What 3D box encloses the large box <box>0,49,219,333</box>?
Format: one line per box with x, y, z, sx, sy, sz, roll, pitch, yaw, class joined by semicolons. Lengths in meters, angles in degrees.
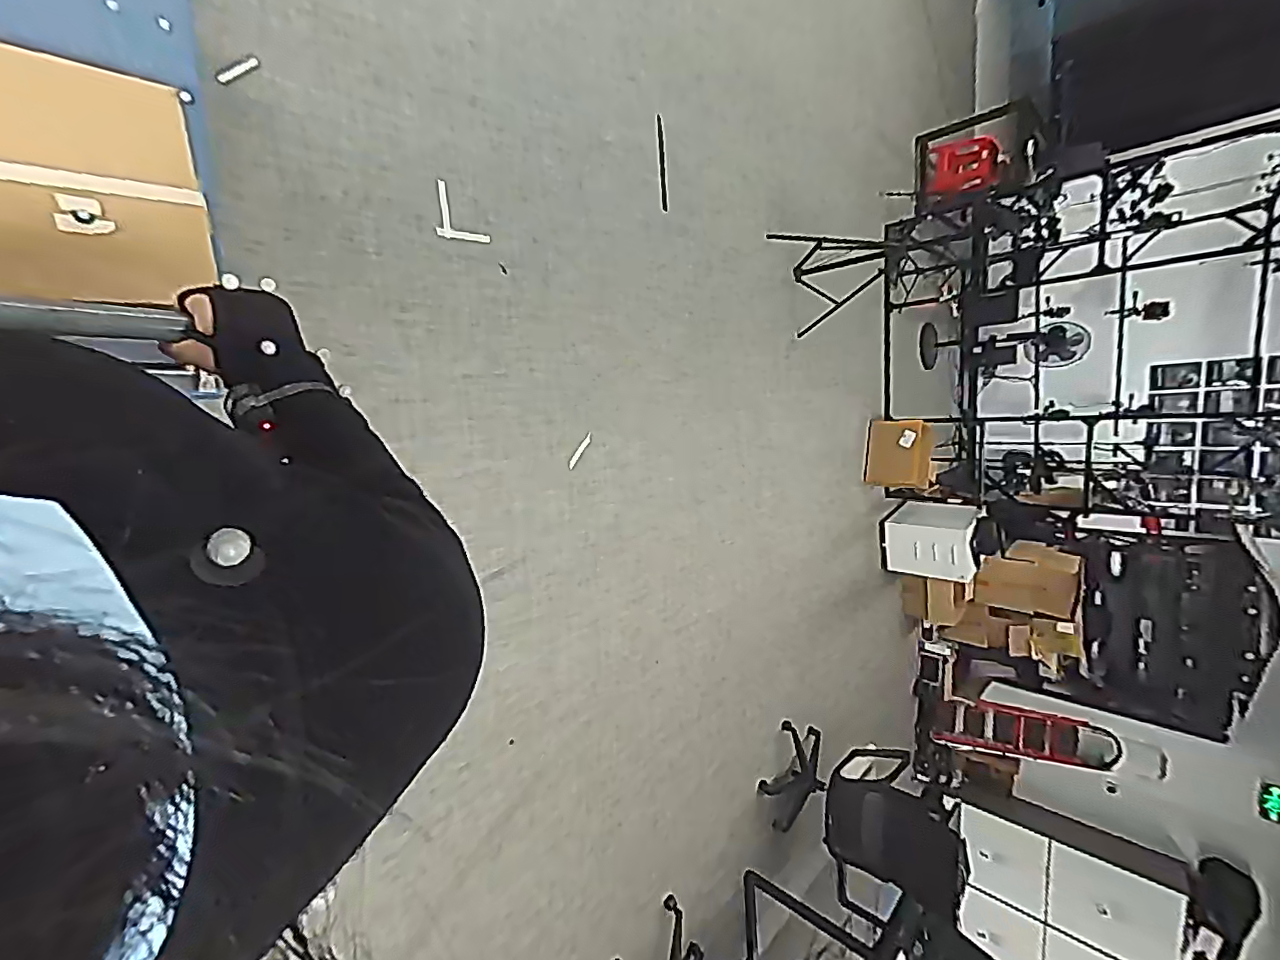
-0.917;-0.392;0.783;0.408;0.320;0.320;-15;104;-46;large box
